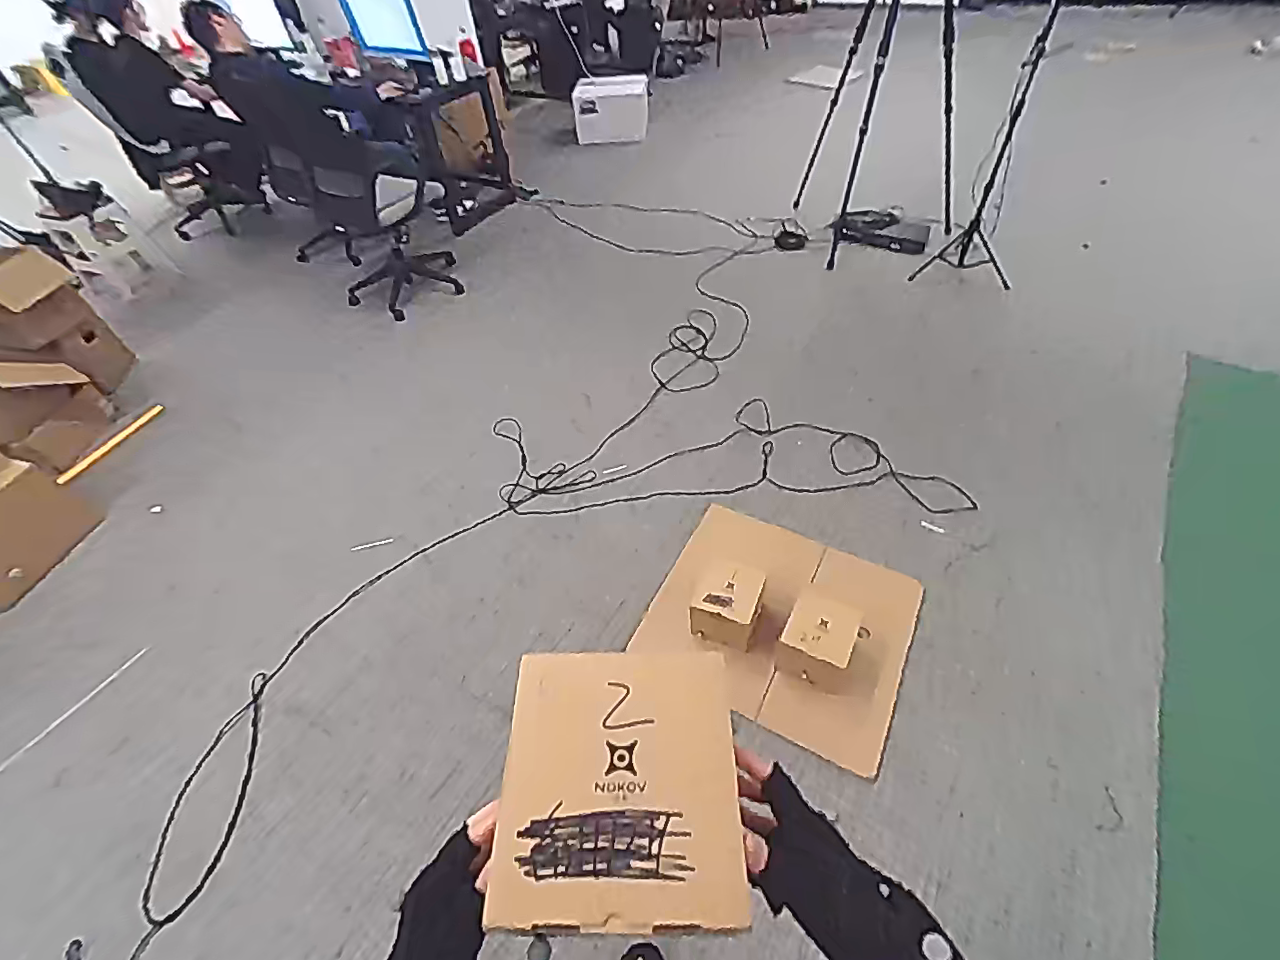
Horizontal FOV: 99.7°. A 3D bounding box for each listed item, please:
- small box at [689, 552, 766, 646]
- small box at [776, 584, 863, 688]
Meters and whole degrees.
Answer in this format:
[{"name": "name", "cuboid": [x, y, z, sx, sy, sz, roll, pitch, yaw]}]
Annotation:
[{"name": "small box", "cuboid": [0.247, 0.338, 1.519, 0.168, 0.176, 0.179, 16, 52, 20]}, {"name": "small box", "cuboid": [0.469, 0.414, 1.430, 0.168, 0.176, 0.179, 20, 54, 23]}]
